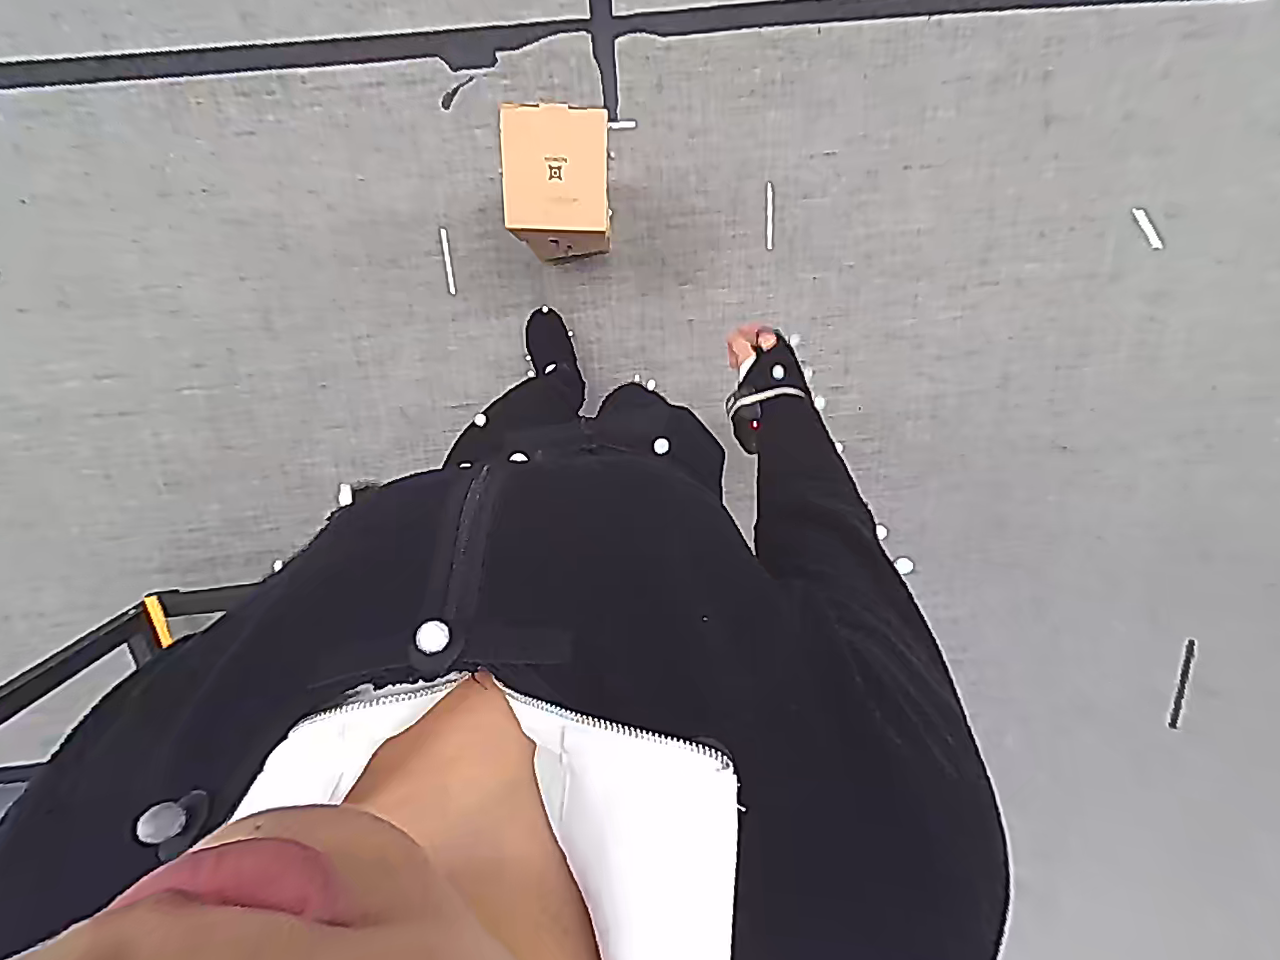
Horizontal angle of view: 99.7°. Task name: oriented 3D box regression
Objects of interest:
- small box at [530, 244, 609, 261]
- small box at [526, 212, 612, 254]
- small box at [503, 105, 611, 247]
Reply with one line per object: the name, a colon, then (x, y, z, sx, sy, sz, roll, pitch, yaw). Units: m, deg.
small box: (-0.165, -0.602, 1.228, 0.179, 0.176, 0.168, -9, 107, -2)
small box: (-0.147, -0.556, 1.071, 0.168, 0.176, 0.179, -5, 107, -3)
small box: (-0.135, -0.504, 0.918, 0.168, 0.176, 0.179, 0, 108, -4)
